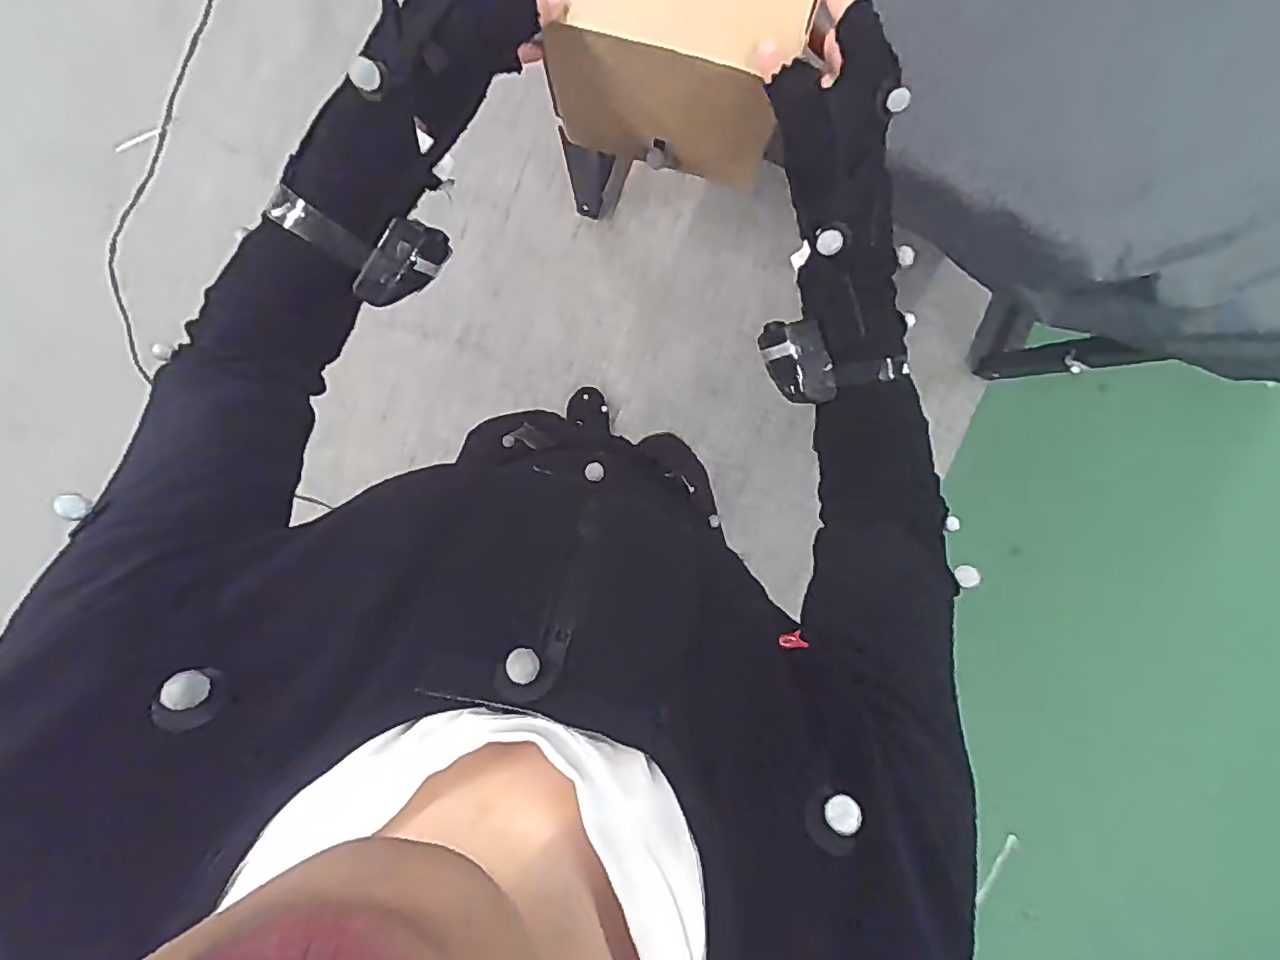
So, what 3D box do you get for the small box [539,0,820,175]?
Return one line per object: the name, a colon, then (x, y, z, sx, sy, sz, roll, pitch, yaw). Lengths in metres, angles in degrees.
small box: (0.036, -0.369, 0.421, 0.179, 0.176, 0.168, 14, 96, -3)
